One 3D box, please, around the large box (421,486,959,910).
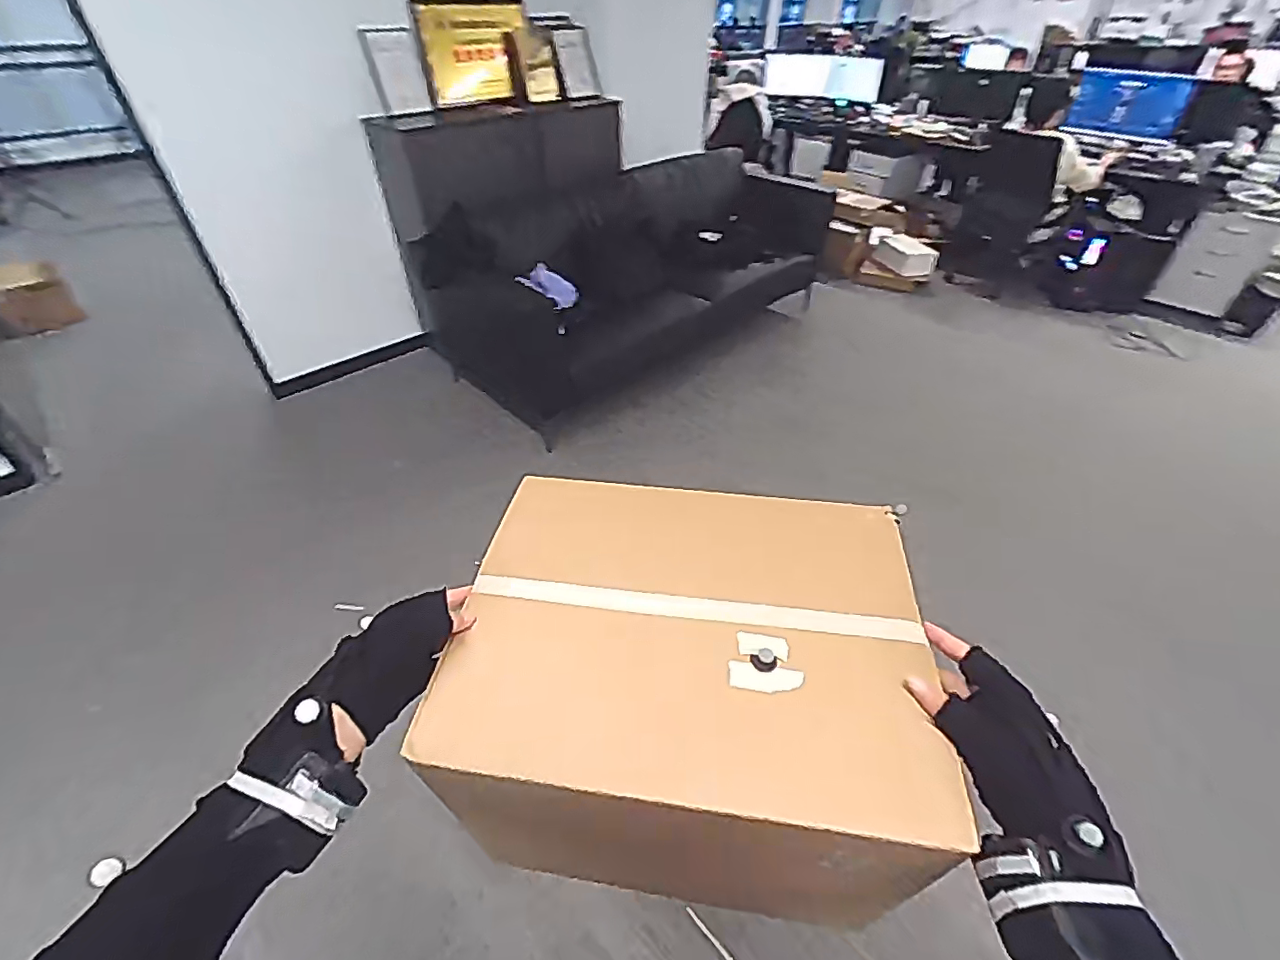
[{"bbox_3d":[0.048,0.230,0.600,0.408,0.320,0.320,4,44,7],"label":"large box"}]
